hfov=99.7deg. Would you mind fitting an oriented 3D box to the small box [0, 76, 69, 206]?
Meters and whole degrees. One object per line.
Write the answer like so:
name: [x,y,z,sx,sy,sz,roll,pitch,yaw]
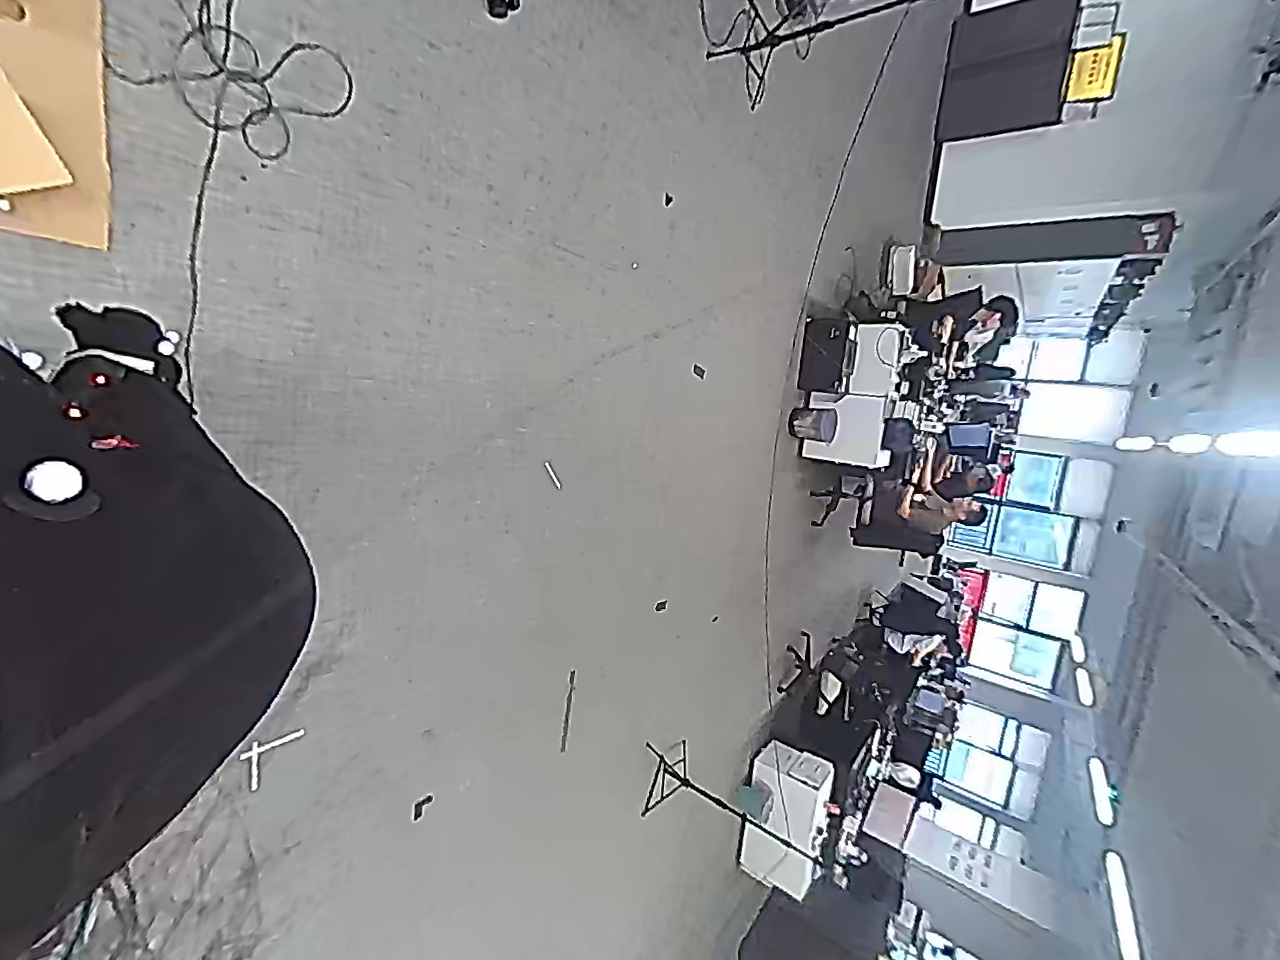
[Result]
small box: [-1.067,-0.526,0.842,0.179,0.176,0.168,-41,130,-37]
